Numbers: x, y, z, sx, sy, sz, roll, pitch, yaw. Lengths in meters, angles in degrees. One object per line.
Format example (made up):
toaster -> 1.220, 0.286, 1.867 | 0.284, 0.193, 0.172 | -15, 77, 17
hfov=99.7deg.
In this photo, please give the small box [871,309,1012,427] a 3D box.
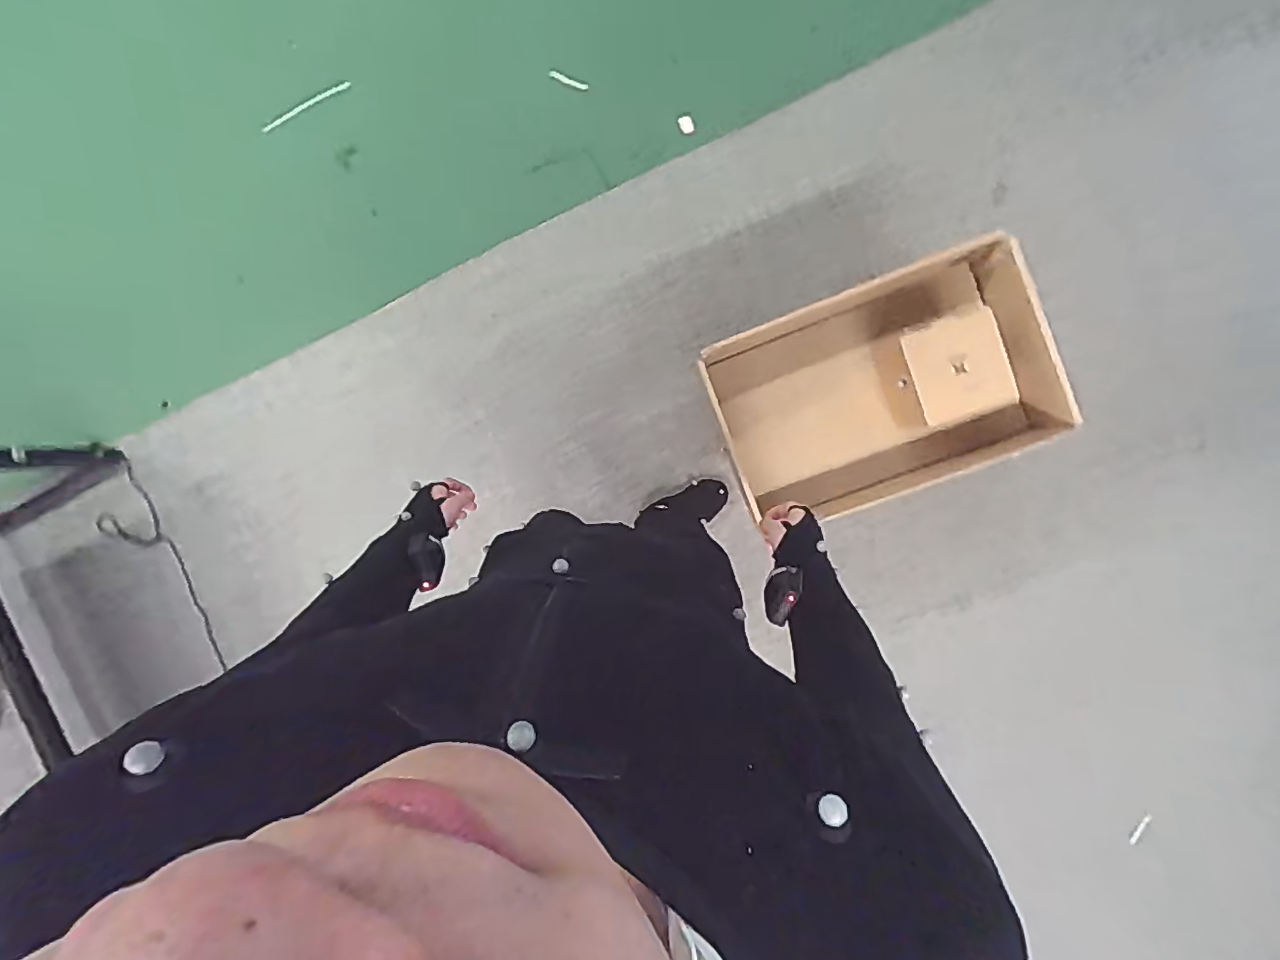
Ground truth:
small box -> 0.580, -0.210, 1.065 | 0.168, 0.176, 0.179 | -18, 93, 6
